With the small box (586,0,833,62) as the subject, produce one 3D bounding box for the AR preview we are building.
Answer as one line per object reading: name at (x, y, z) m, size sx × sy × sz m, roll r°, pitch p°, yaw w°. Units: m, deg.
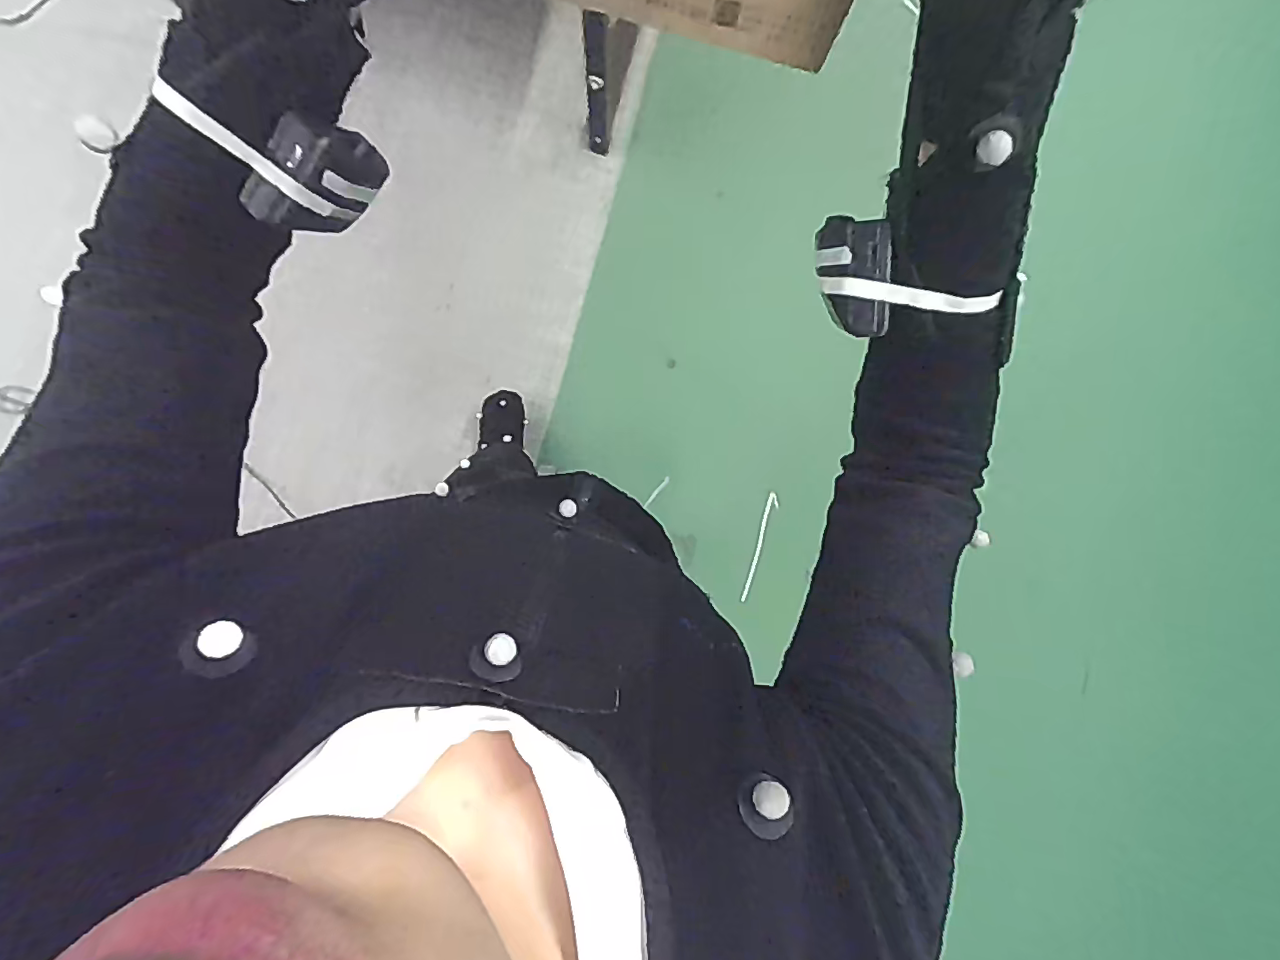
small box at (0.043, -0.349, 0.241) m, size 0.168 × 0.176 × 0.179 m, roll 13°, pitch 80°, yaw -4°
